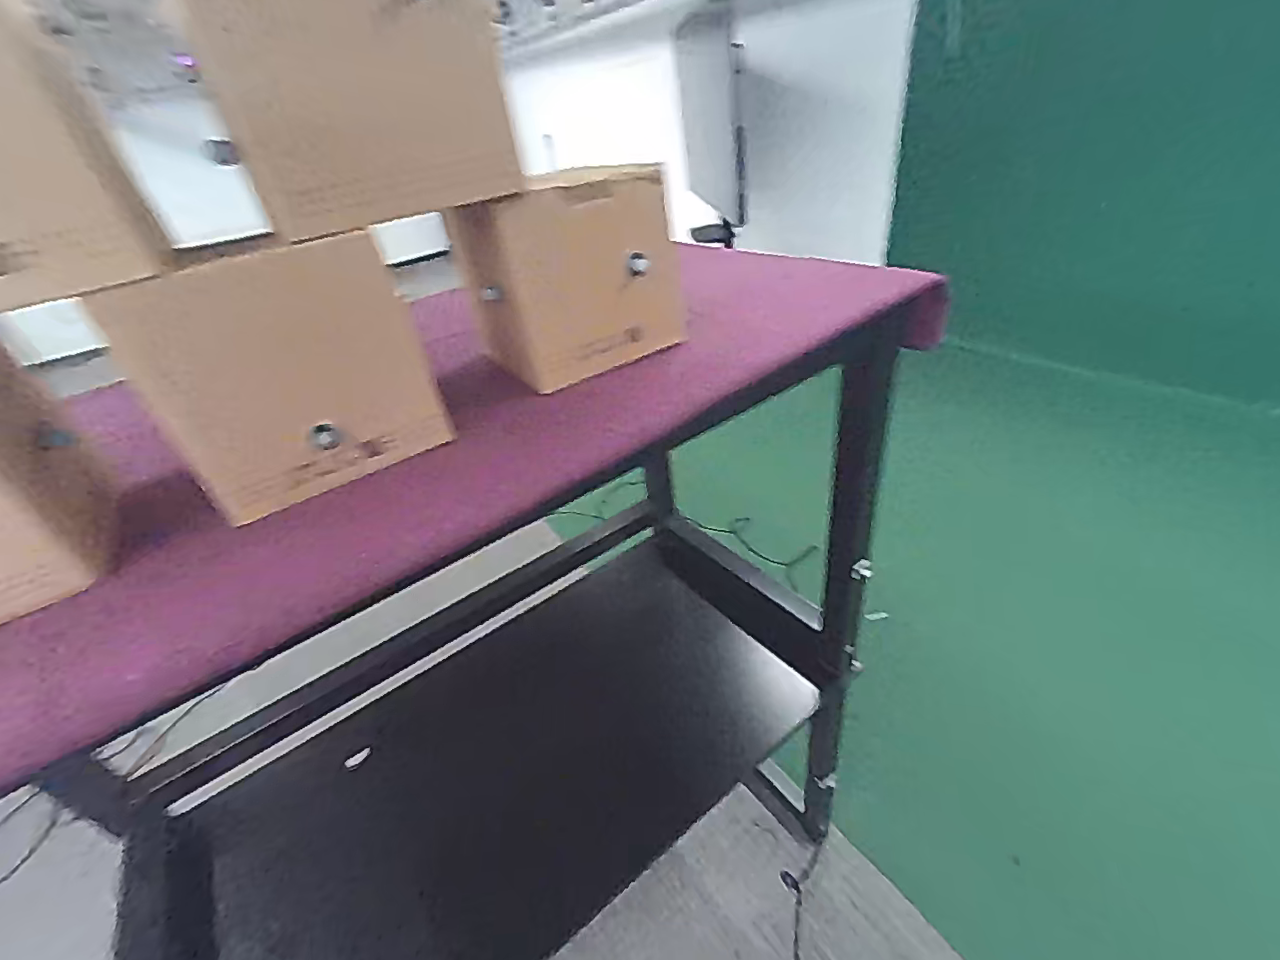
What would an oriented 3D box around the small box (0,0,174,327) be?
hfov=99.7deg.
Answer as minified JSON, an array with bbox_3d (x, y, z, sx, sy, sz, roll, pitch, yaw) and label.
[{"bbox_3d":[-0.406,-0.177,0.300,0.168,0.176,0.179,-28,38,-23],"label":"small box"}]

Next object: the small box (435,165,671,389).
[{"bbox_3d":[-0.085,-0.208,0.552,0.168,0.176,0.179,-26,36,-22],"label":"small box"}]

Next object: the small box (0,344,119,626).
[{"bbox_3d":[-0.487,0.010,0.339,0.179,0.176,0.168,-27,38,-25],"label":"small box"}]

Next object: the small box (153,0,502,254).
[{"bbox_3d":[-0.218,-0.281,0.397,0.179,0.176,0.168,-28,37,-23],"label":"small box"}]
